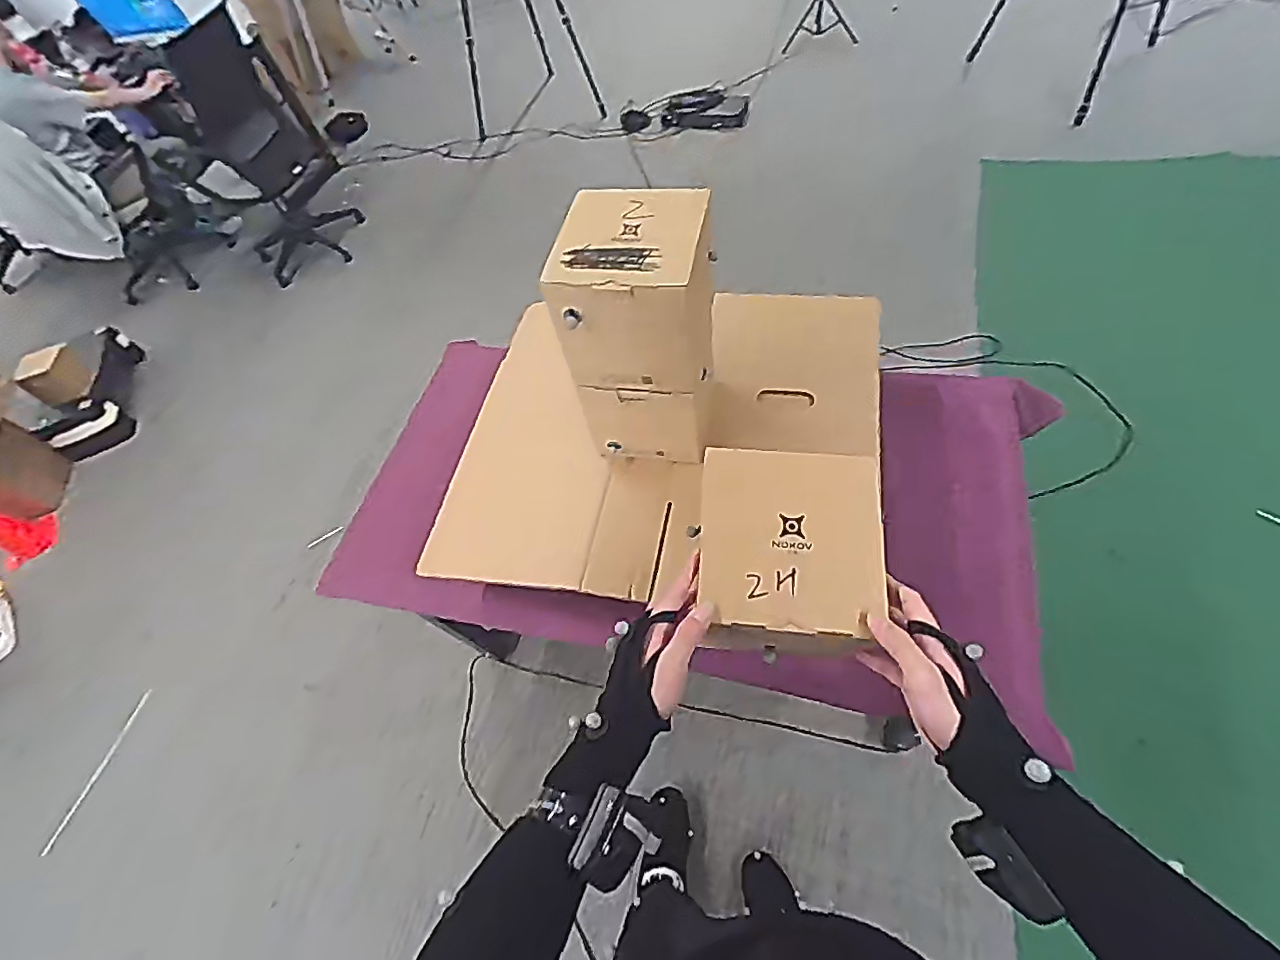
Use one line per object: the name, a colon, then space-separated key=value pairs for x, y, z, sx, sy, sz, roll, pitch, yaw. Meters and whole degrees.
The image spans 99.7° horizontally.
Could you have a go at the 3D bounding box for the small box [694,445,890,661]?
small box: x=0.146 y=0.083 z=0.568 sx=0.168 sy=0.176 sz=0.179 roll=4 pitch=67 yaw=7

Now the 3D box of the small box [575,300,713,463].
small box: x=0.018 y=-0.144 z=0.811 sx=0.168 sy=0.176 sz=0.179 roll=6 pitch=59 yaw=12
